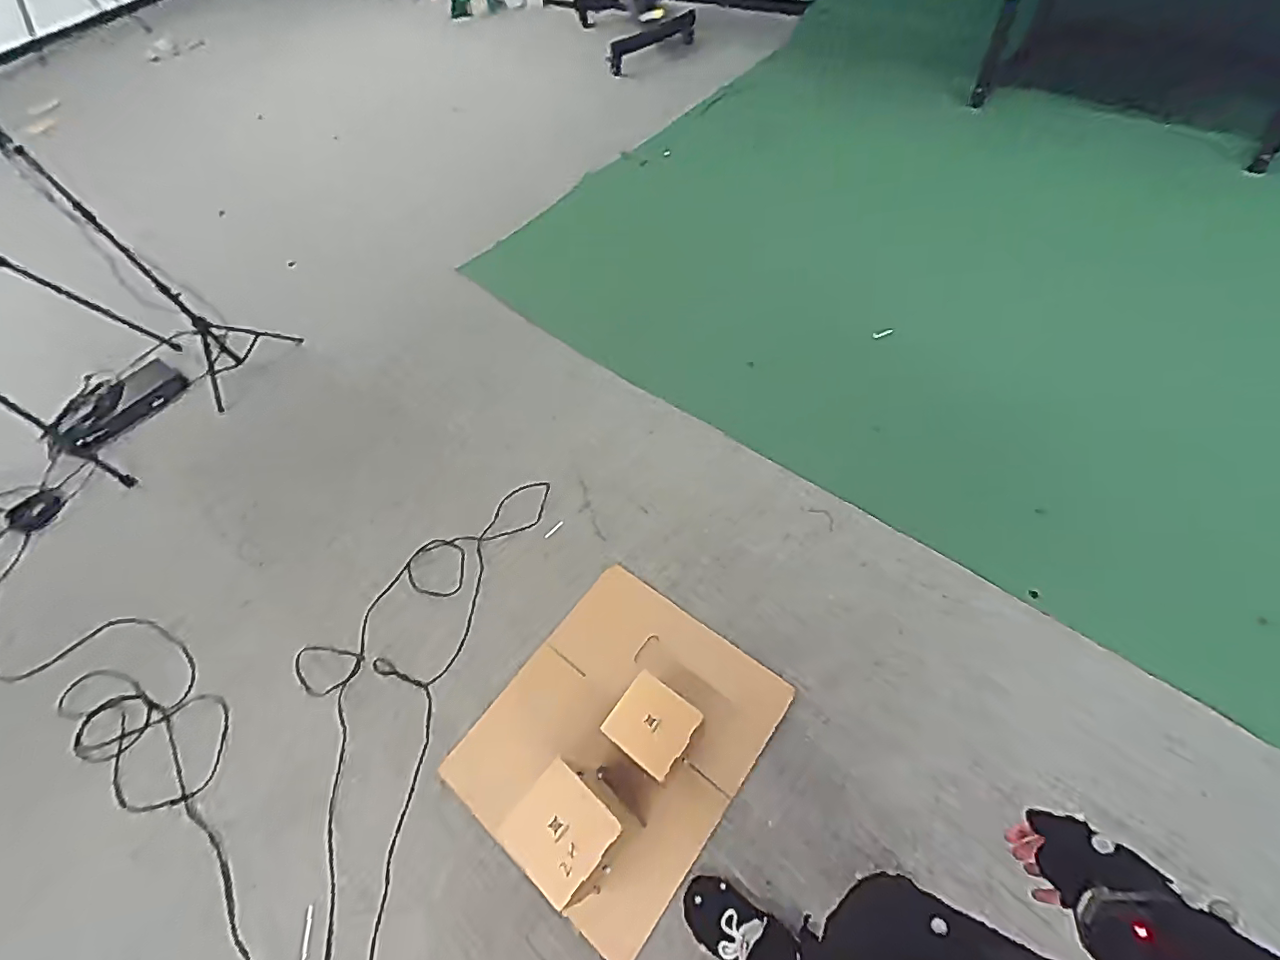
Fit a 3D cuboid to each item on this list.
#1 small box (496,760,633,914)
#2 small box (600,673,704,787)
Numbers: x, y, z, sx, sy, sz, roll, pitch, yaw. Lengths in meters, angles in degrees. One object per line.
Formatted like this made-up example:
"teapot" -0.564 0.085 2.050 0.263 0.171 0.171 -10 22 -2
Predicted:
"small box" -0.135 0.670 1.026 0.179 0.176 0.168 35 69 26
"small box" 0.034 0.586 1.256 0.179 0.176 0.168 30 66 24
